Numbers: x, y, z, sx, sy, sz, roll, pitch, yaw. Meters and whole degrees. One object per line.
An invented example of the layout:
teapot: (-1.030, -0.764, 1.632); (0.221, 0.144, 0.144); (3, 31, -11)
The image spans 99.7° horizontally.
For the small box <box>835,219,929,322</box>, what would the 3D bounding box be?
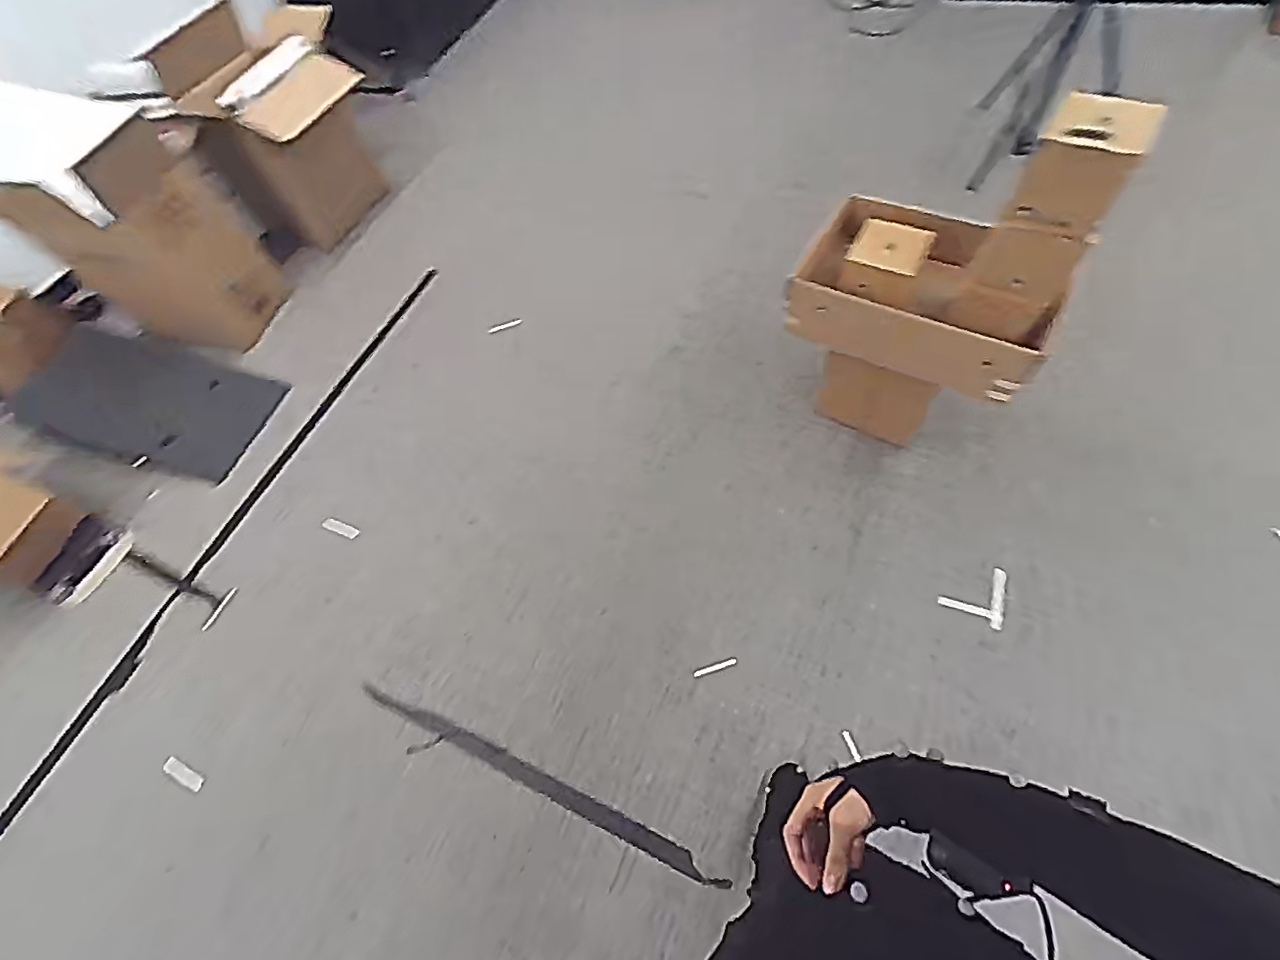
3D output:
small box: (0.634, -0.553, 1.438); (0.168, 0.176, 0.179); (25, 67, 20)

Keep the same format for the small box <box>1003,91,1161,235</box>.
small box: (0.850, -0.616, 1.058); (0.168, 0.176, 0.179); (28, 68, 21)

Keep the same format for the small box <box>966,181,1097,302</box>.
small box: (0.864, -0.524, 1.195); (0.179, 0.176, 0.168); (24, 67, 19)
